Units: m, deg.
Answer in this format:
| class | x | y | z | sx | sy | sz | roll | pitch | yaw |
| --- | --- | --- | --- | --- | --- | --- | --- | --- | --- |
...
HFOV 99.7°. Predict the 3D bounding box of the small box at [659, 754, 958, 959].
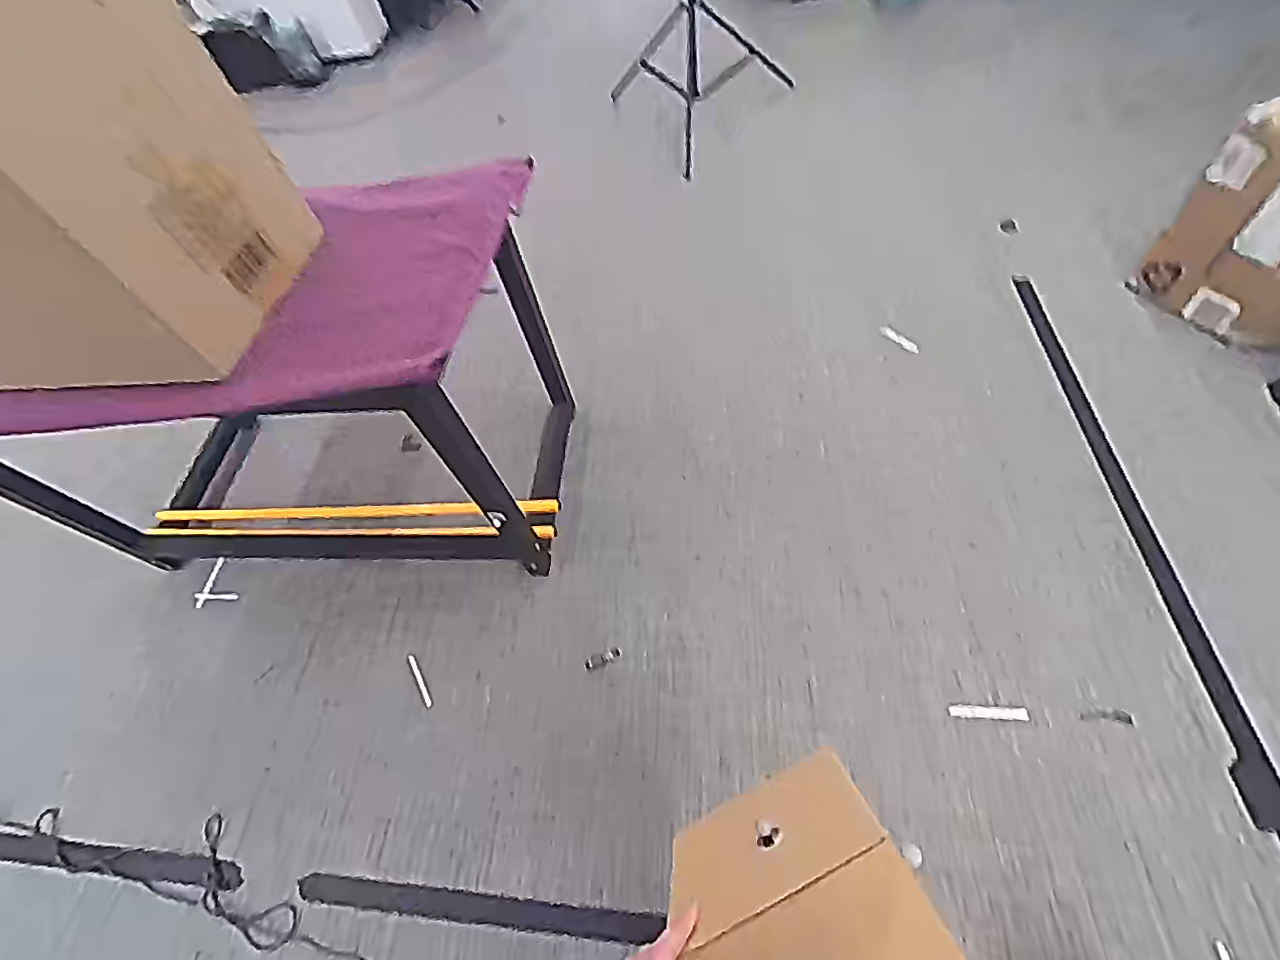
| class | x | y | z | sx | sy | sz | roll | pitch | yaw |
| --- | --- | --- | --- | --- | --- | --- | --- | --- | --- |
| small box | 0.134 | 0.357 | 0.424 | 0.179 | 0.176 | 0.168 | -32 | 82 | 1 |
